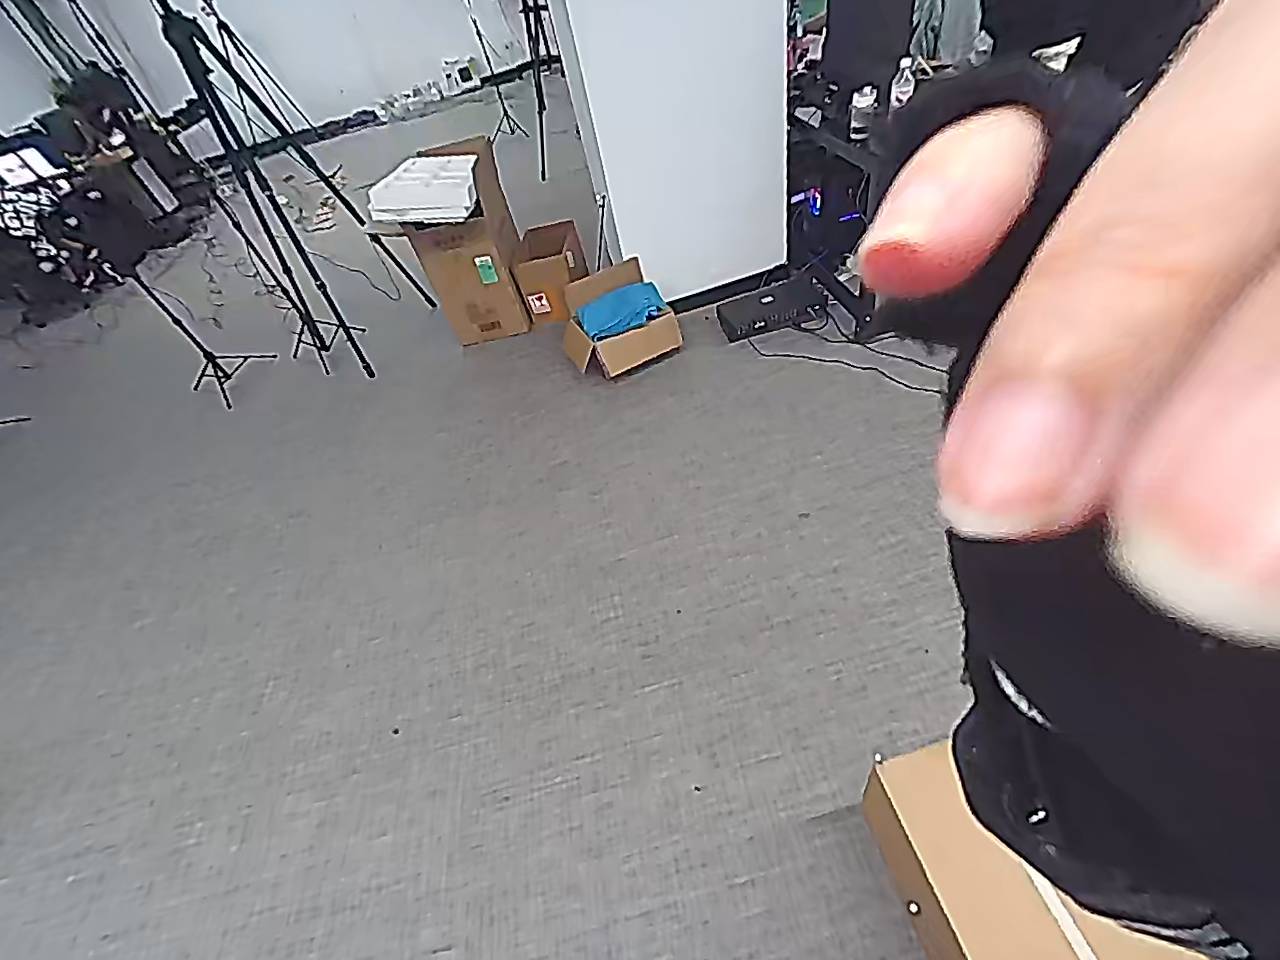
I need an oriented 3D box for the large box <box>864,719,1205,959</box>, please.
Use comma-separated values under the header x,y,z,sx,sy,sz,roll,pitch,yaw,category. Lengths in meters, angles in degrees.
x,y,z,sx,sy,sz,roll,pitch,yaw,category
0.661,0.731,0.990,0.320,0.320,0.408,-16,44,-1,large box
